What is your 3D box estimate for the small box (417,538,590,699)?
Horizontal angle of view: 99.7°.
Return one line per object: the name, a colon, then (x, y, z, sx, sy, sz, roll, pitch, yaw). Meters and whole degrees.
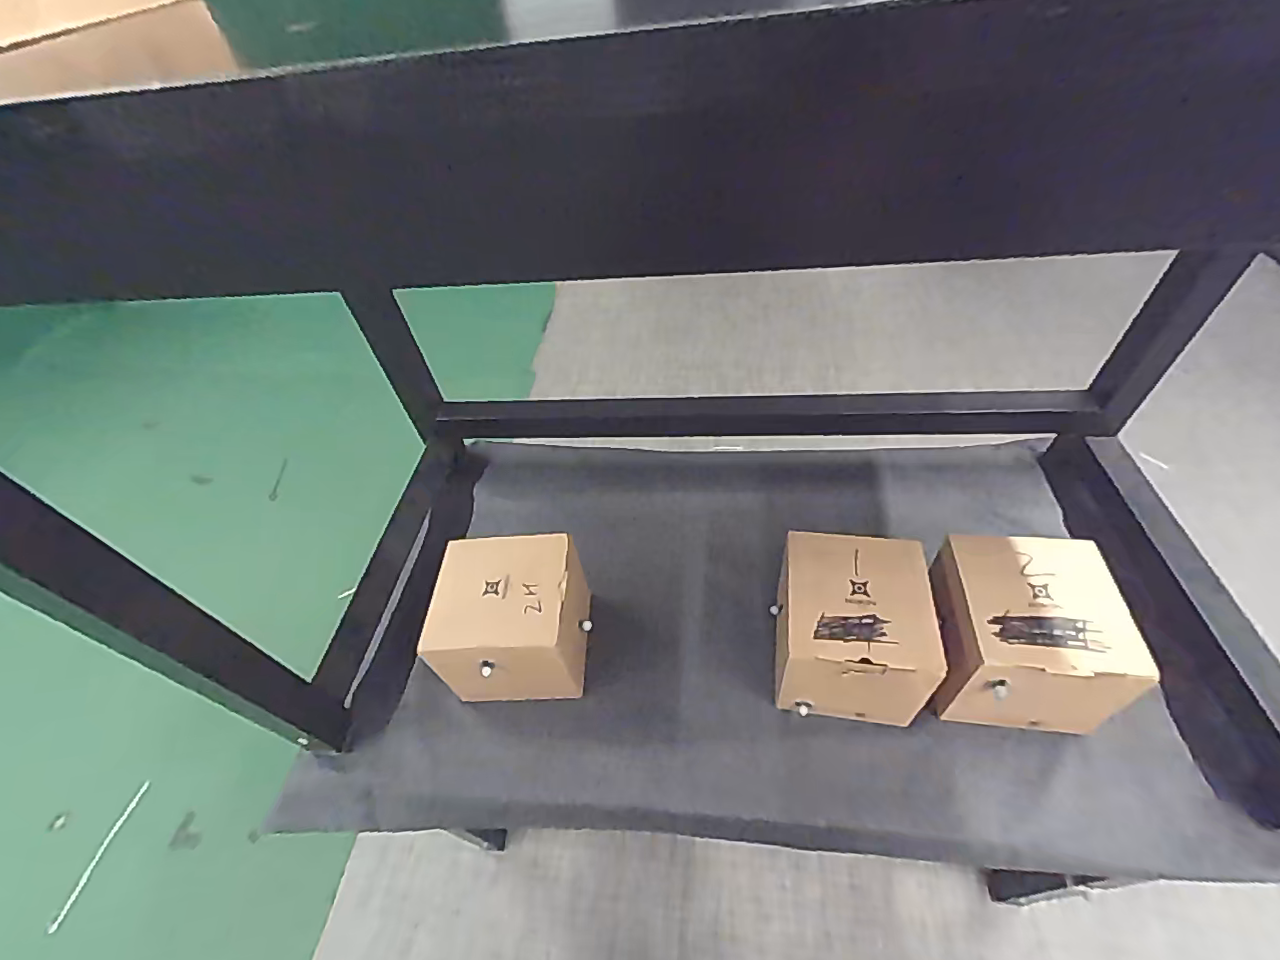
small box: (-0.176, 0.198, 0.761, 0.179, 0.176, 0.168, -3, 48, 5)
